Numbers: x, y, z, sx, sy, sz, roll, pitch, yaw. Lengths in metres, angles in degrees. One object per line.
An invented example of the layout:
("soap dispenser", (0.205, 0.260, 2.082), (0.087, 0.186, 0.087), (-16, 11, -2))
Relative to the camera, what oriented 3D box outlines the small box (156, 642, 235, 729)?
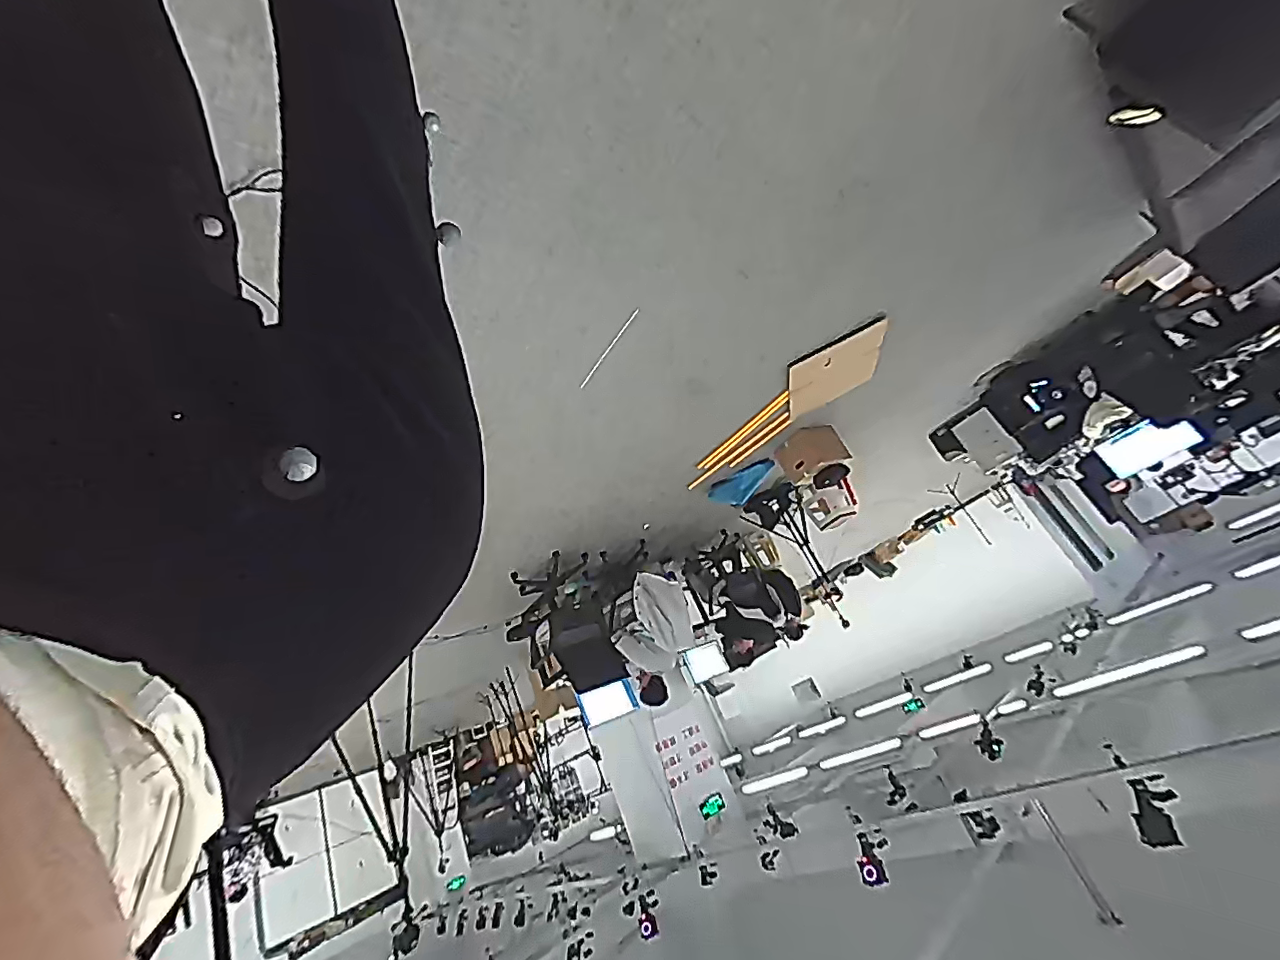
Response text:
("small box", (-1.274, 0.584, 1.549), (0.168, 0.176, 0.179), (-2, 147, -42))
